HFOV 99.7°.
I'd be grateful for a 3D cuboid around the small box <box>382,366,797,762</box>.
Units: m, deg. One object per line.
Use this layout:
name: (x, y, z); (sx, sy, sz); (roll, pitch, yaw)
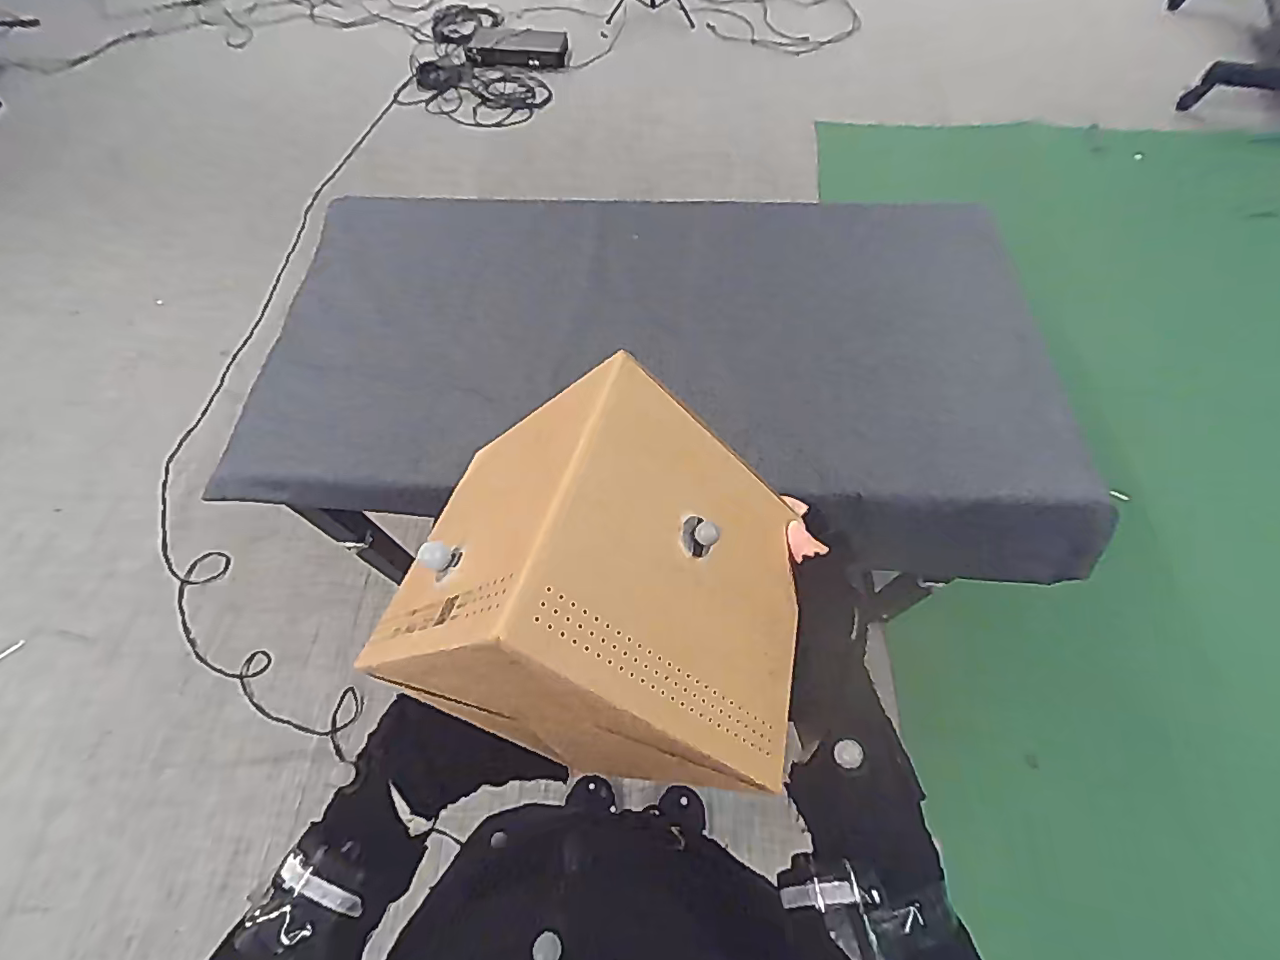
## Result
small box: (-0.024, 0.069, 0.348); (0.179, 0.168, 0.176); (38, 49, -26)
